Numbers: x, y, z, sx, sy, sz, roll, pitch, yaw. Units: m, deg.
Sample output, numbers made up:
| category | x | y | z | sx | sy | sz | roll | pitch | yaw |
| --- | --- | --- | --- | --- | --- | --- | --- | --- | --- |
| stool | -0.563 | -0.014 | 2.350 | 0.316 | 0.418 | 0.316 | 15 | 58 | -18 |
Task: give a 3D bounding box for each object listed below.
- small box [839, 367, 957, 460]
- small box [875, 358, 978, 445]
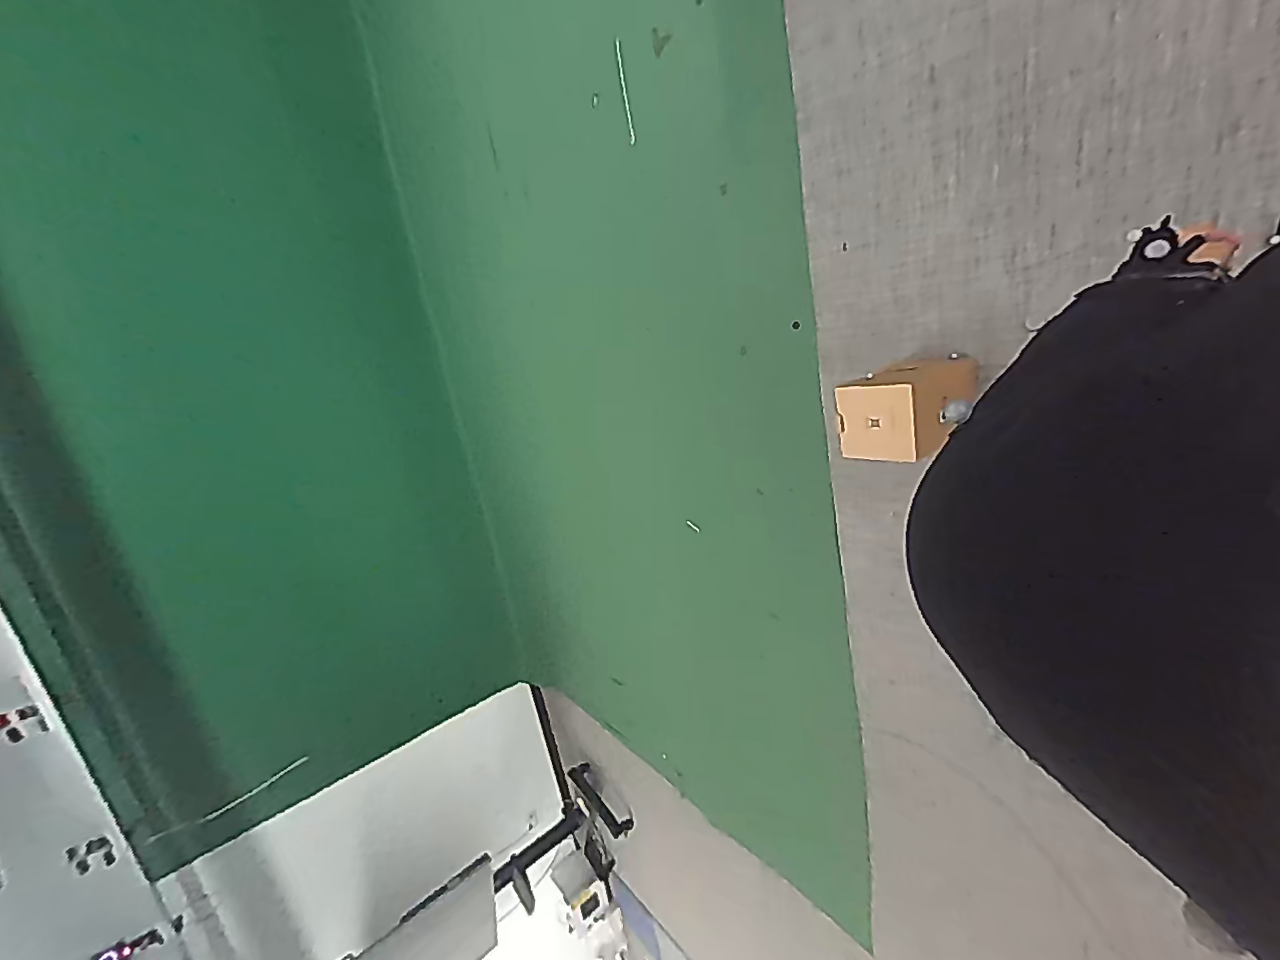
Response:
| category | x | y | z | sx | sy | sz | roll | pitch | yaw |
| --- | --- | --- | --- | --- | --- | --- | --- | --- | --- |
| small box | 0.570 | -0.149 | 1.195 | 0.179 | 0.176 | 0.168 | 7 | 114 | 52 |
| small box | 0.688 | -0.194 | 1.298 | 0.168 | 0.176 | 0.179 | 12 | 118 | 52 |
